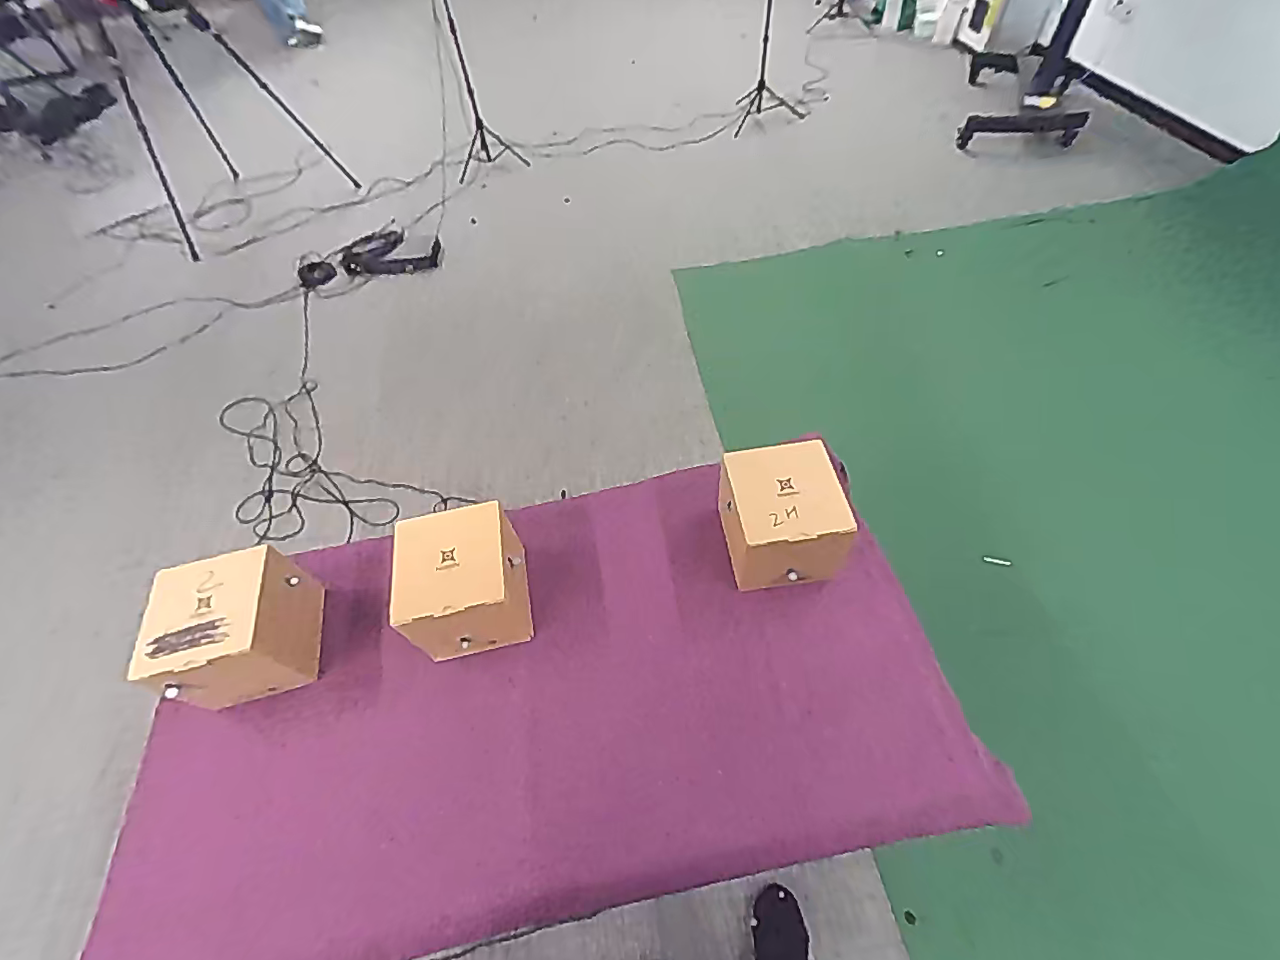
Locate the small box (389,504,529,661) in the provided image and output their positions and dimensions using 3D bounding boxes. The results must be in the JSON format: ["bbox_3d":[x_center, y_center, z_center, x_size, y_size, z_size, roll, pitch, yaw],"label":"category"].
[{"bbox_3d":[-0.282,0.168,0.868,0.168,0.176,0.179,-12,56,-4],"label":"small box"}]

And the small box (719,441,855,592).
[{"bbox_3d":[0.228,0.063,0.892,0.168,0.176,0.179,-9,55,0],"label":"small box"}]
